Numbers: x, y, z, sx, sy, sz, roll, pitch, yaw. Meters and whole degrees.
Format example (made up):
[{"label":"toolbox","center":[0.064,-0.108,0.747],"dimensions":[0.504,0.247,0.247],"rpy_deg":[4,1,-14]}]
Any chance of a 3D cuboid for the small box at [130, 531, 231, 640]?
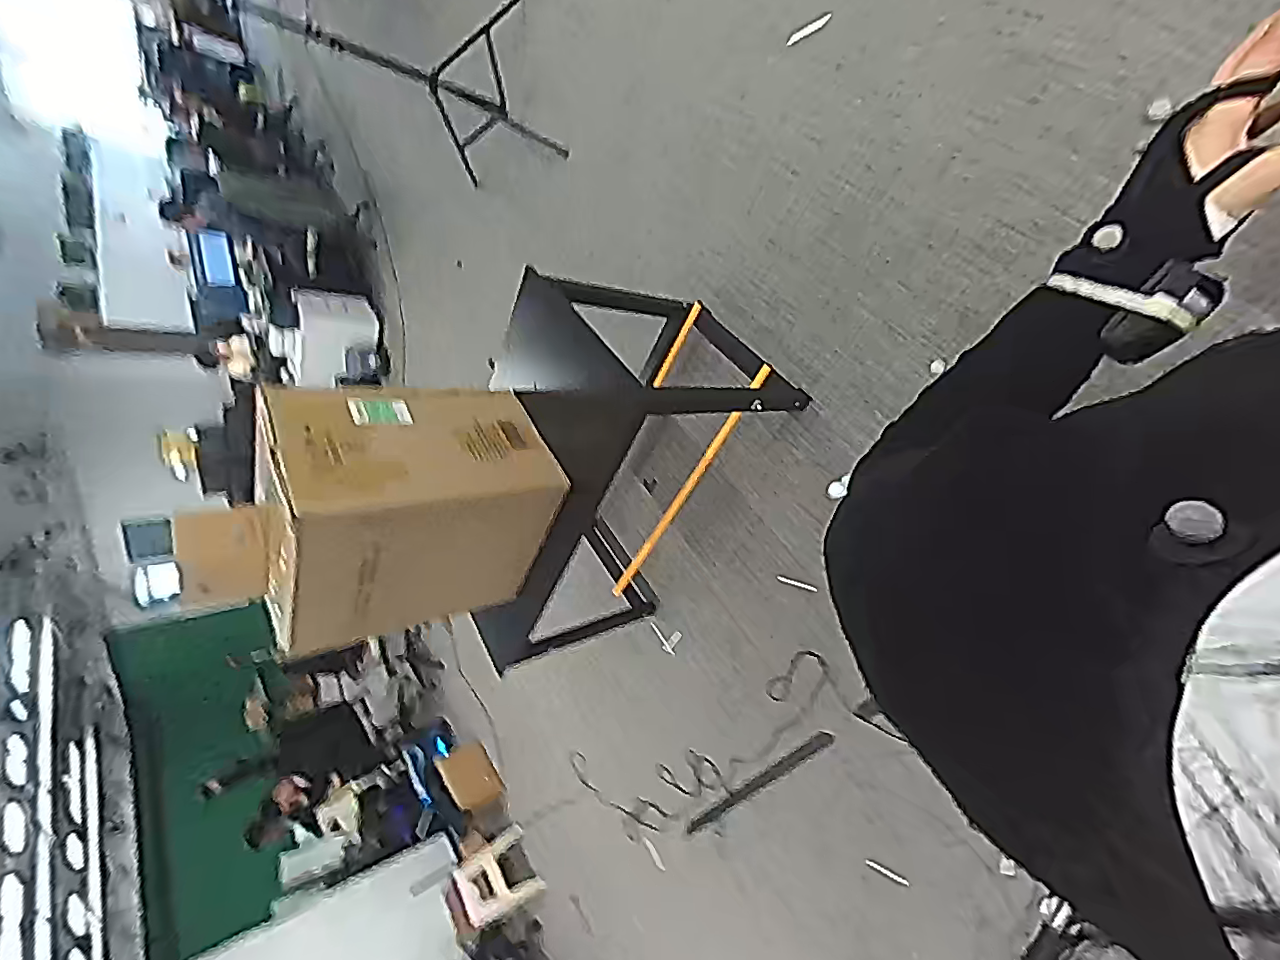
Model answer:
[{"label":"small box","center":[-1.063,0.240,1.257],"dimensions":[0.168,0.176,0.179],"rpy_deg":[55,131,30]}]
